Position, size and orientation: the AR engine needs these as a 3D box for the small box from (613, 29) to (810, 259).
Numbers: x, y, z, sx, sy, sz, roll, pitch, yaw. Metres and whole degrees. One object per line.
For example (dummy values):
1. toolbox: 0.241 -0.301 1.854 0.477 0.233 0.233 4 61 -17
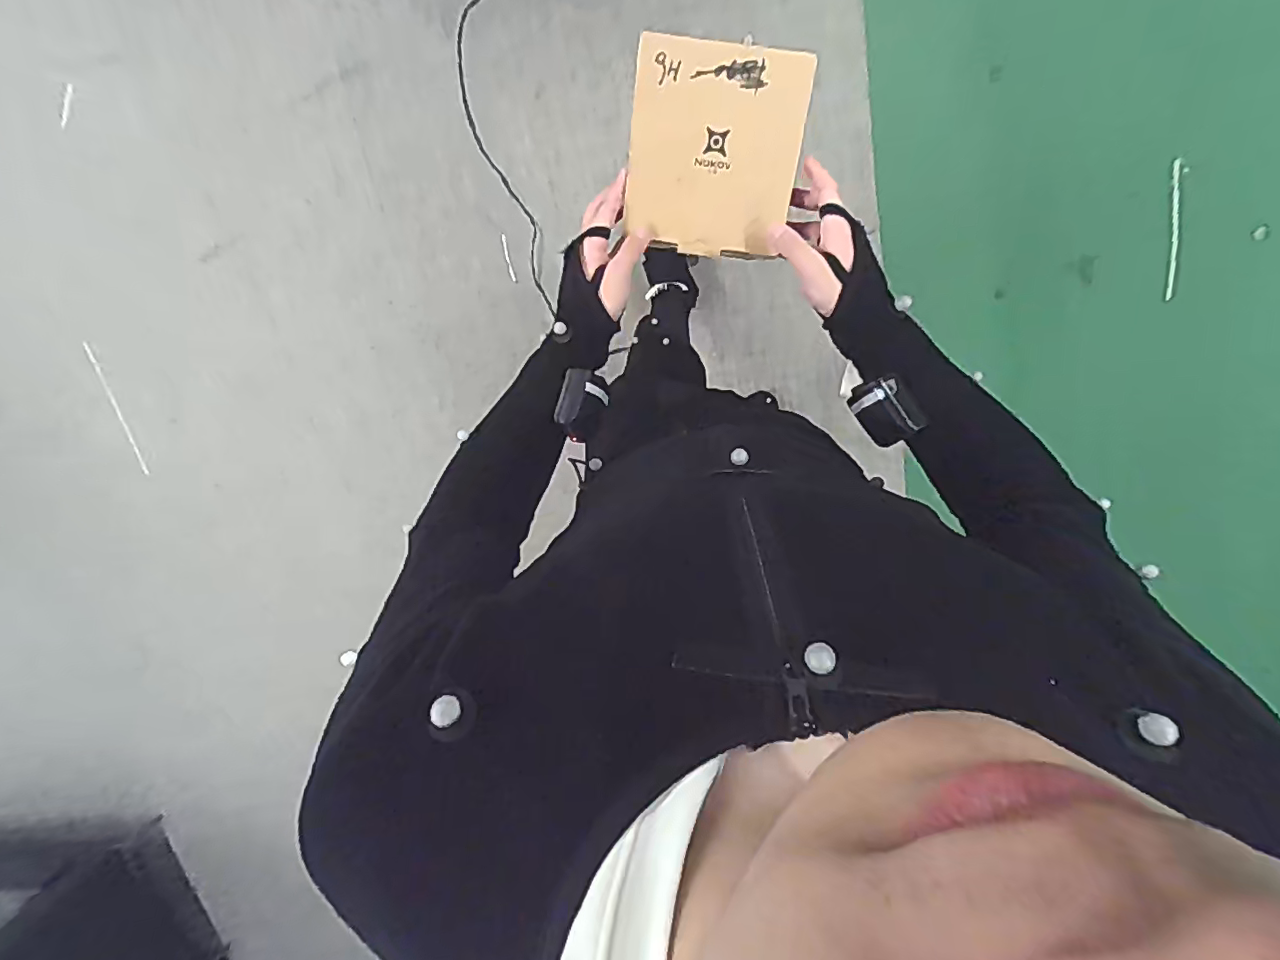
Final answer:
1. small box: 0.068 -0.350 0.595 0.168 0.176 0.179 8 113 -1
